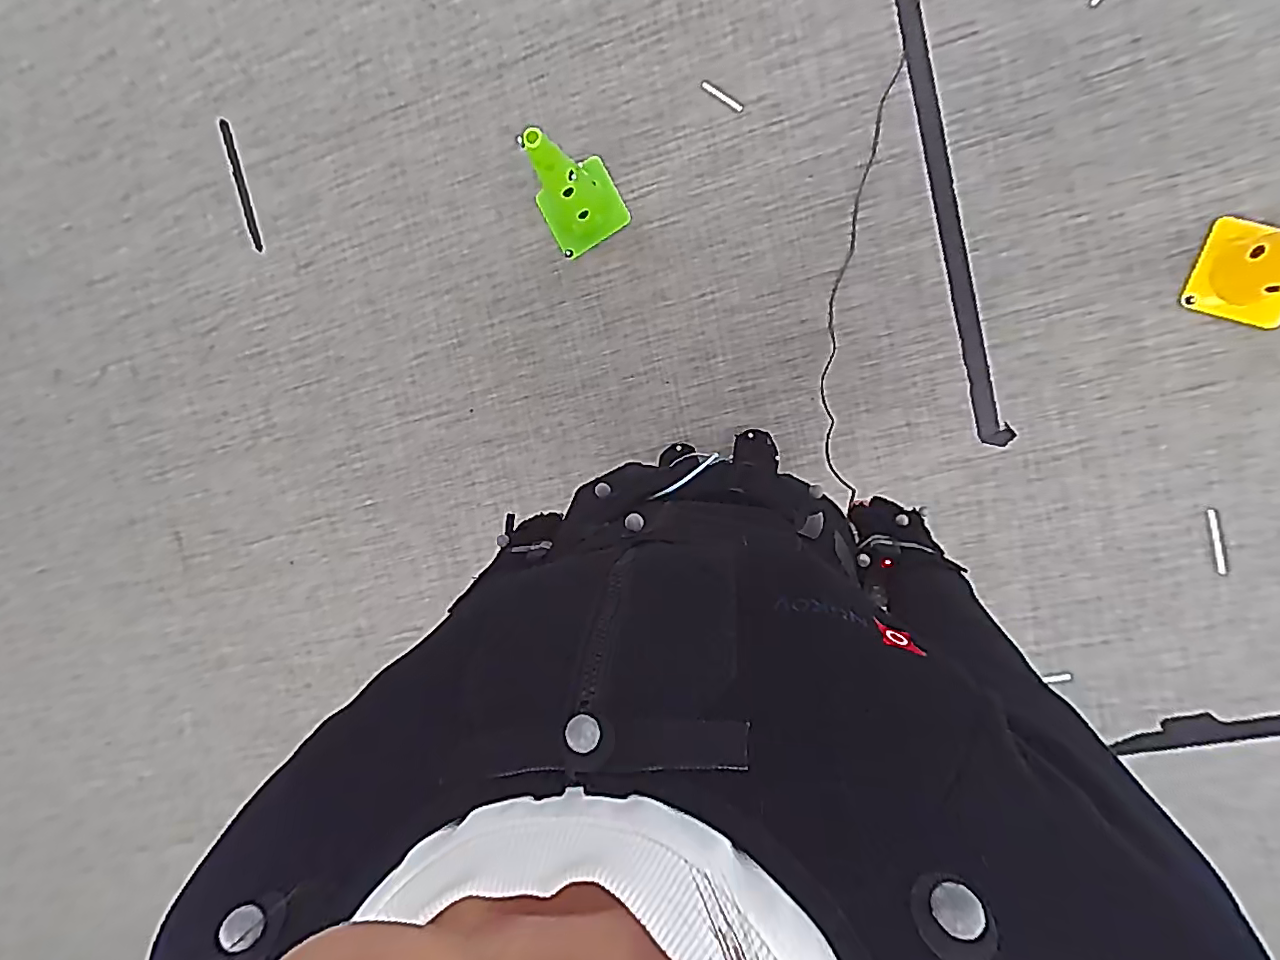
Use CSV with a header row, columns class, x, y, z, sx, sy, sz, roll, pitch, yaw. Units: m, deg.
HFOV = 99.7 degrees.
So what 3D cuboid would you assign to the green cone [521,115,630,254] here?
class,x,y,z,sx,sy,sz,roll,pitch,yaw
green cone,-0.179,-0.707,1.237,0.200,0.368,0.202,-29,88,11
